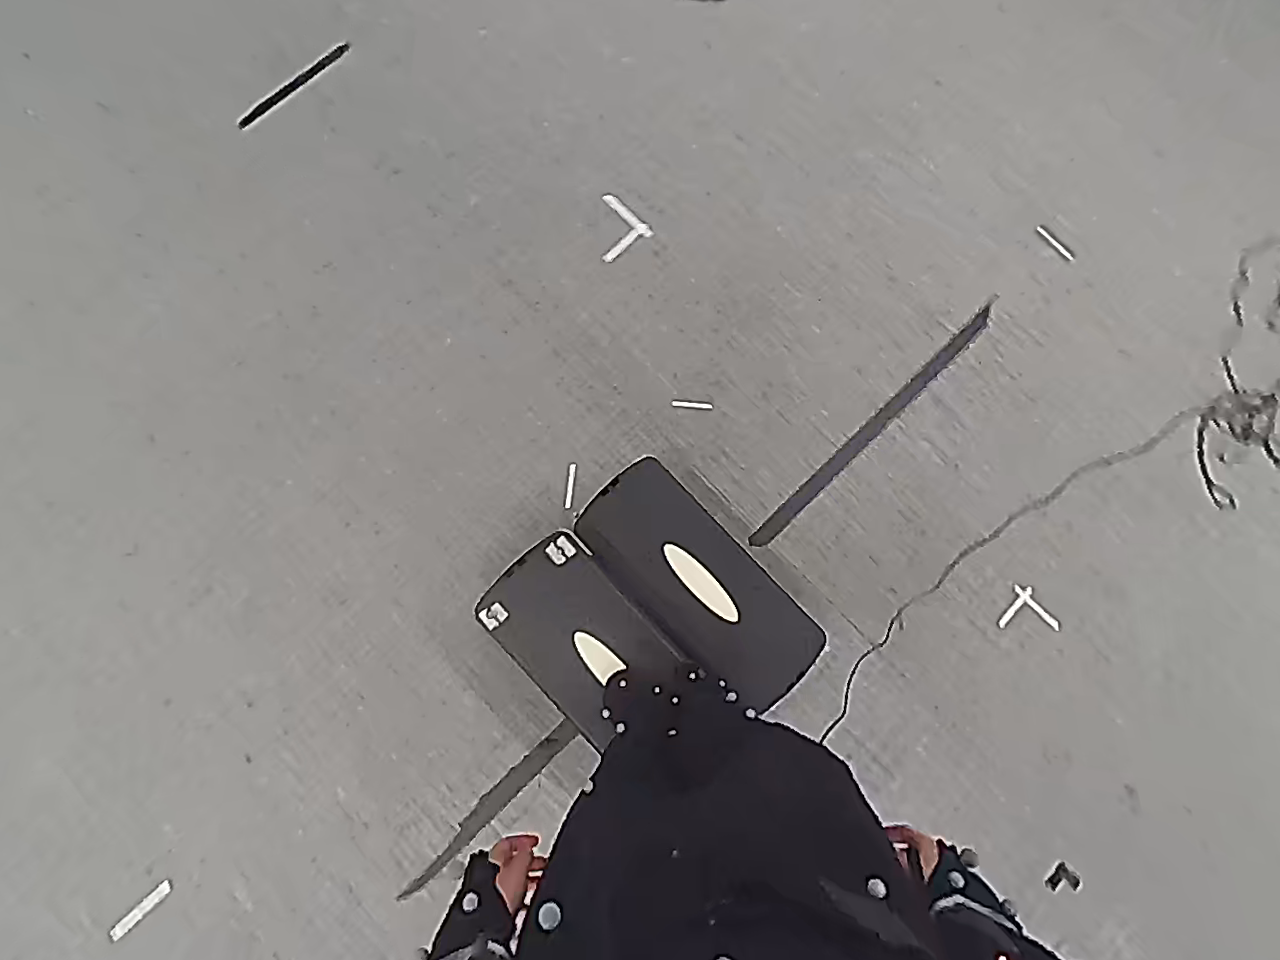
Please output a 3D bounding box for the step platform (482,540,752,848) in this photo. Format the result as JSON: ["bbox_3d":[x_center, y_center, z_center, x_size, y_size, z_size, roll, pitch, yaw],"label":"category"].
[{"bbox_3d":[-0.059,0.470,1.258,0.286,0.204,0.684,-40,83,-9],"label":"step platform"}]
